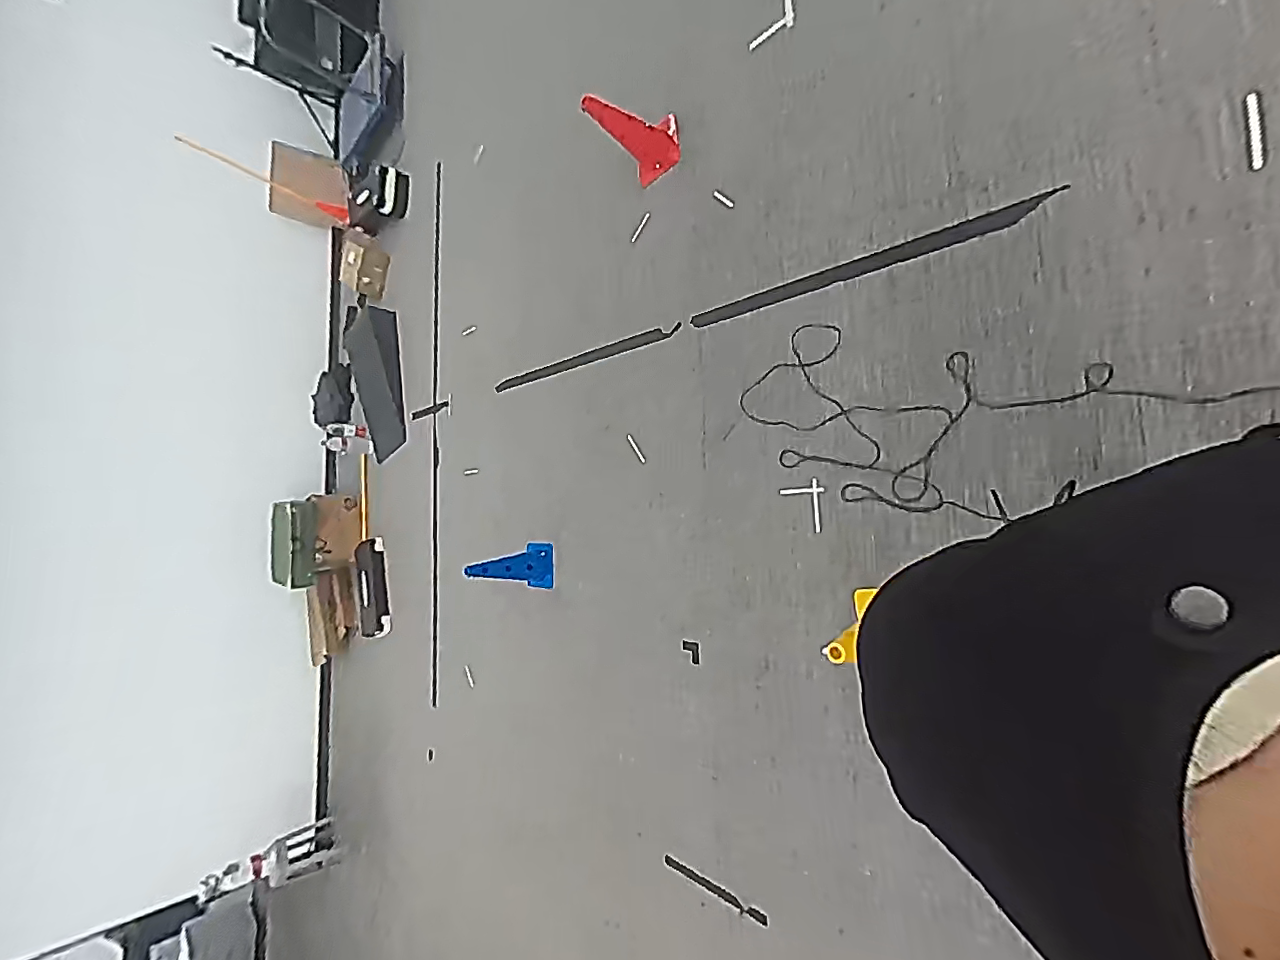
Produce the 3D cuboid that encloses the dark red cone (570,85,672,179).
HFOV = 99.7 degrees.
[{"bbox_3d":[-0.078,-1.243,1.875,0.202,0.394,0.201,-16,78,44],"label":"dark red cone"}]

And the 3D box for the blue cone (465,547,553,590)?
[{"bbox_3d":[-0.568,0.391,2.313,0.193,0.380,0.192,-4,86,45],"label":"blue cone"}]
